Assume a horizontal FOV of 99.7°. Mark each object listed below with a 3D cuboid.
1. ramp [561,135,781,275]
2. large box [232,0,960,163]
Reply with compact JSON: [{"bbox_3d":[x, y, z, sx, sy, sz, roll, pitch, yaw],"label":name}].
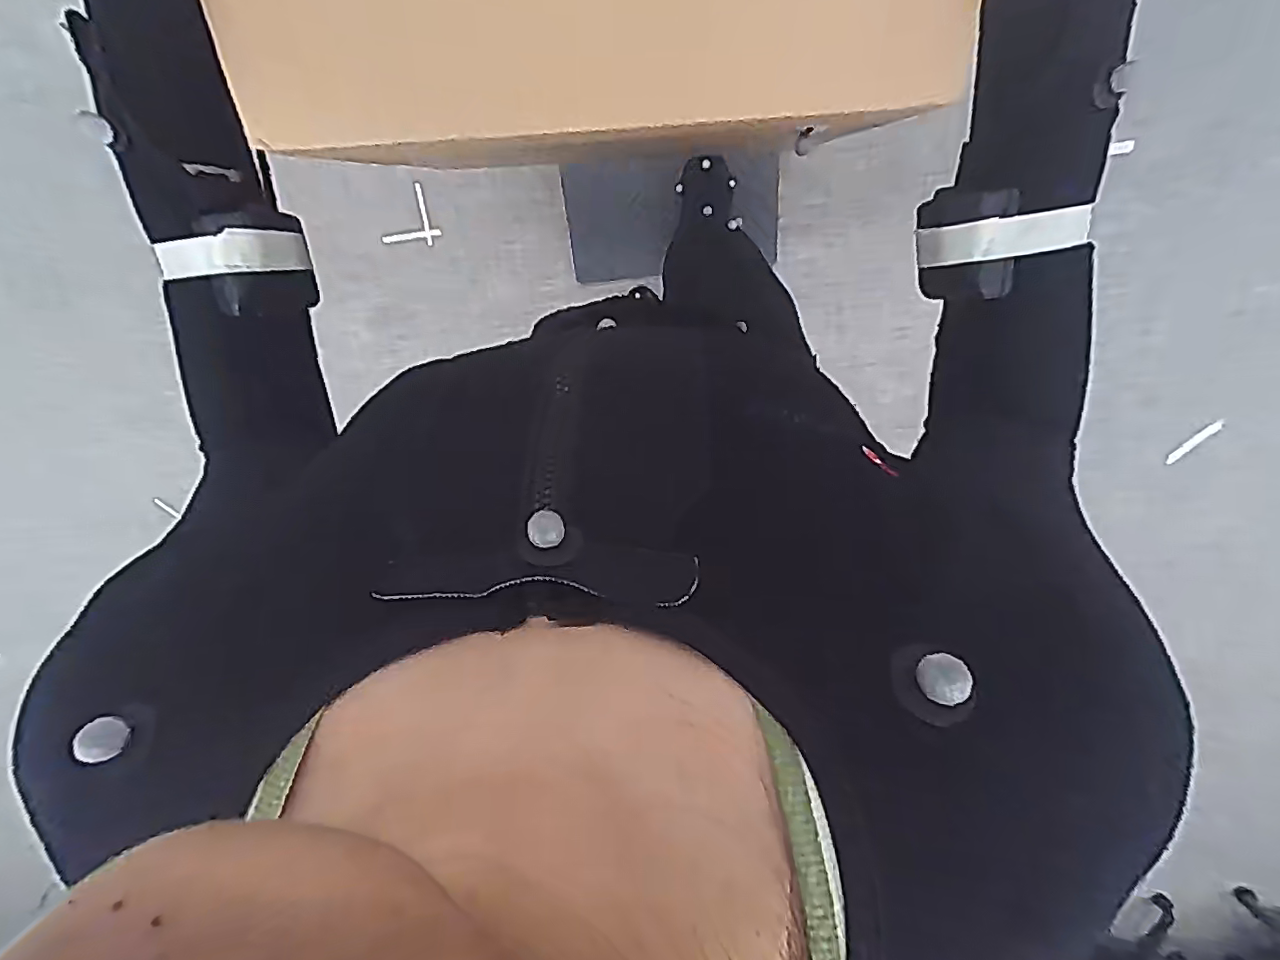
[{"bbox_3d":[0.041,-0.944,1.065,0.509,0.206,0.991,-5,113,6],"label":"ramp"},{"bbox_3d":[-0.027,-0.417,0.378,0.408,0.320,0.320,-2,118,3],"label":"large box"}]
